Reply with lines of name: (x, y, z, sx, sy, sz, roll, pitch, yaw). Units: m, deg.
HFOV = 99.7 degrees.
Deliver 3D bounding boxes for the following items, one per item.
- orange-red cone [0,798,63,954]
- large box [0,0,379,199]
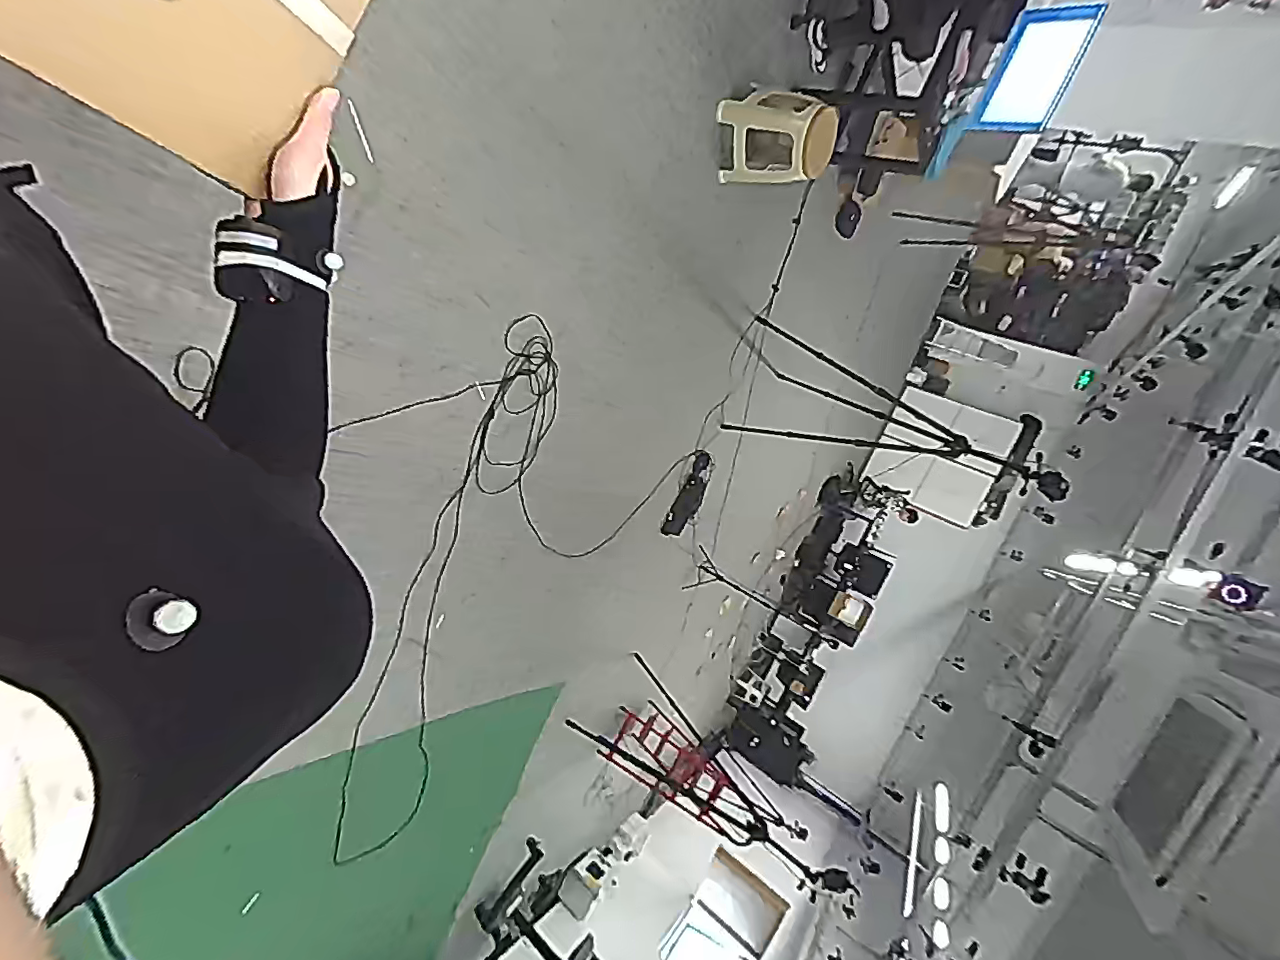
orange-red cone: (-1.555, 1.014, 1.343, 0.198, 0.360, 0.199, -62, 153, 0)
large box: (-0.451, -0.492, 0.372, 0.320, 0.320, 0.408, -54, 153, 10)
